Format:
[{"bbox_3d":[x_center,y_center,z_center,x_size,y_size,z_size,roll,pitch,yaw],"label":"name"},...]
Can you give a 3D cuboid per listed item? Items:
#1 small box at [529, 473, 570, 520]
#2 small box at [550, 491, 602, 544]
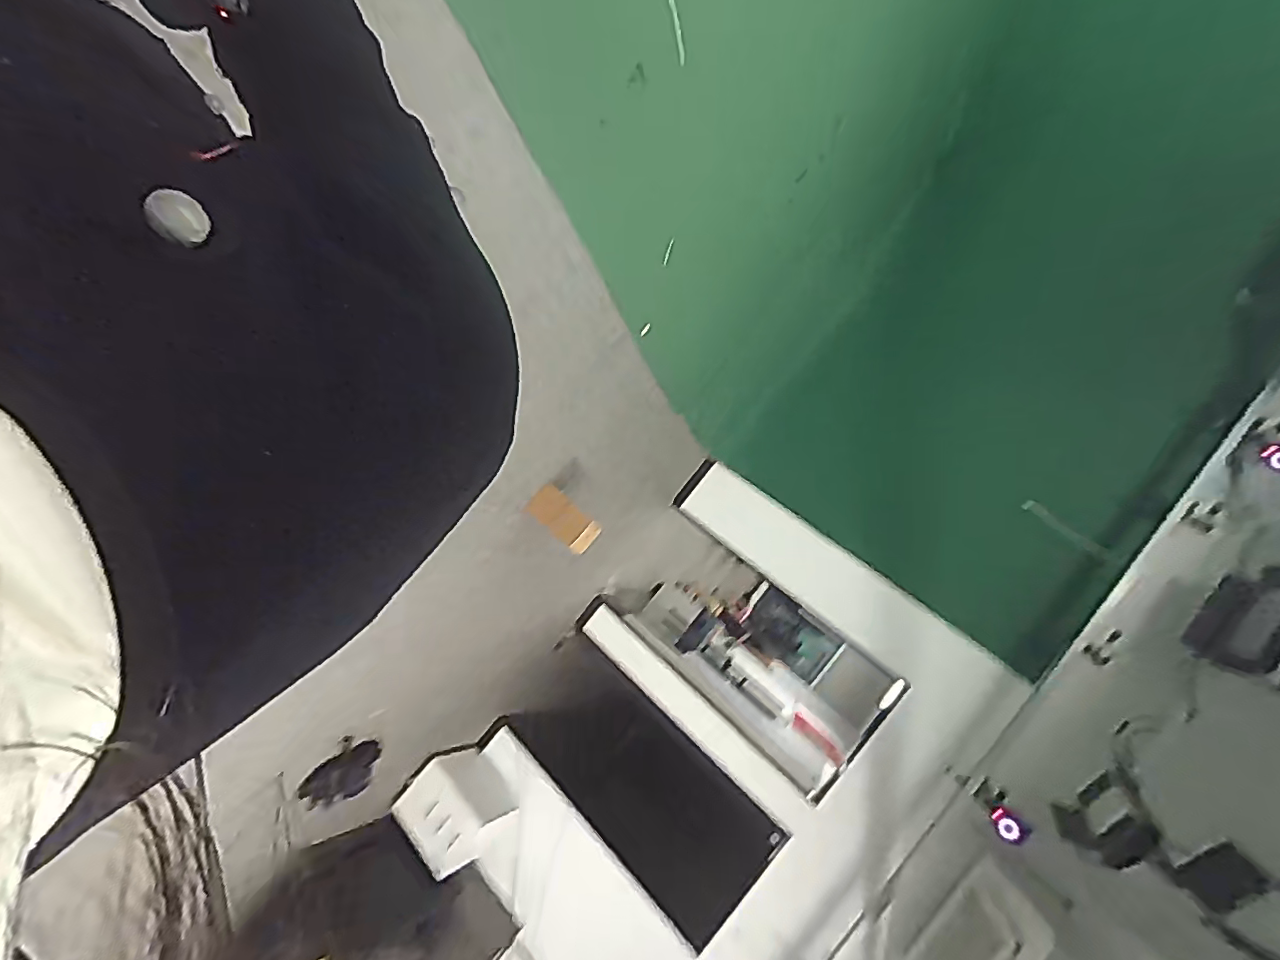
[{"bbox_3d":[-0.444,0.098,2.767,0.179,0.176,0.168,-50,157,-7],"label":"small box"},{"bbox_3d":[-0.327,0.188,2.703,0.179,0.176,0.168,-50,155,-5],"label":"small box"}]
